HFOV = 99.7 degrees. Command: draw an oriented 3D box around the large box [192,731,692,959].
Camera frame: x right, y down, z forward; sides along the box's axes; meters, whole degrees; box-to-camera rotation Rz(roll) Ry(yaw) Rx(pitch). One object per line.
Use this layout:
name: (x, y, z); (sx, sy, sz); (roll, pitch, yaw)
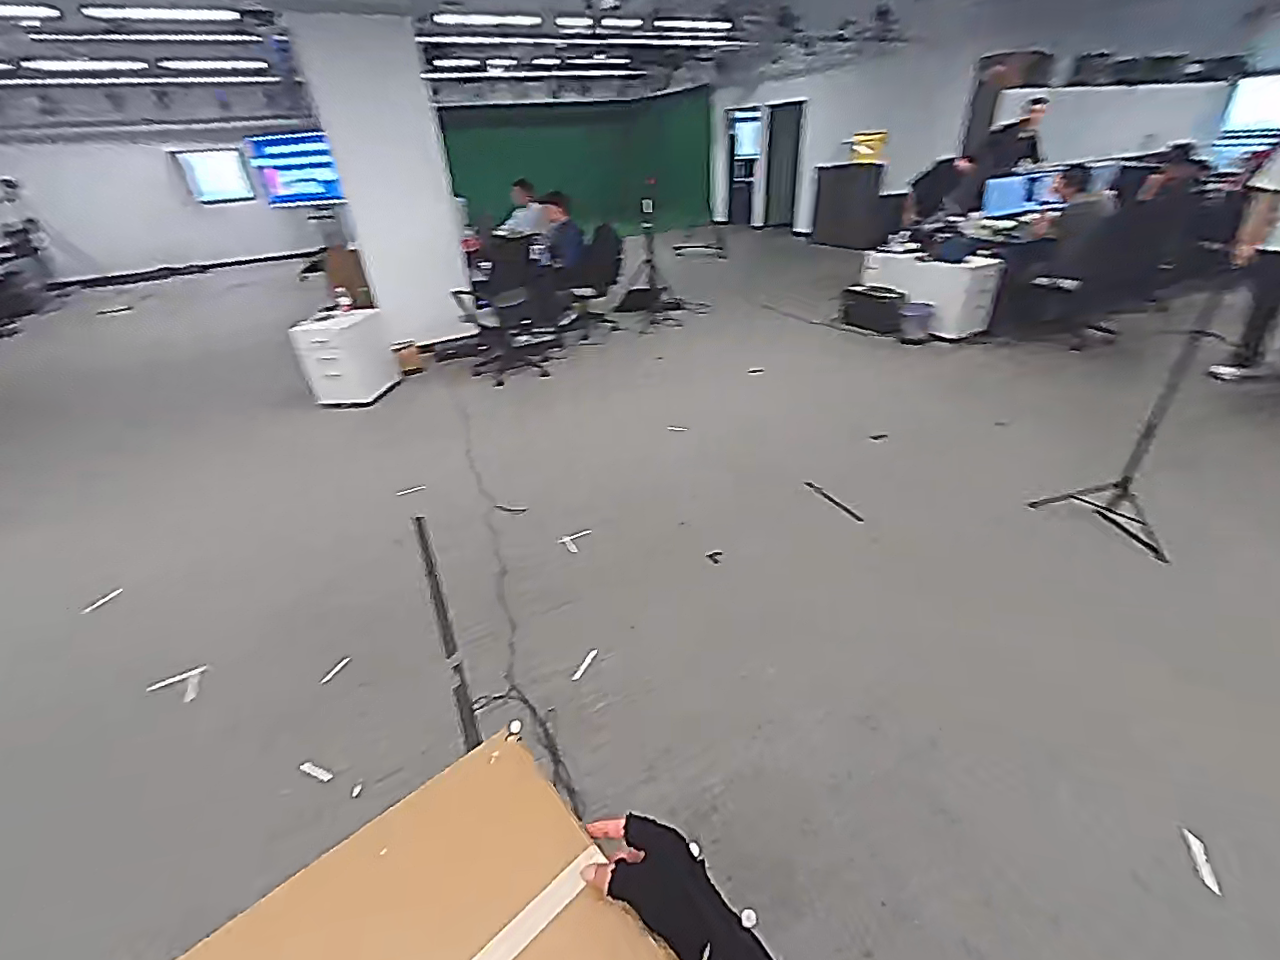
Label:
large box: (-0.183, 0.528, 0.462); (0.408, 0.320, 0.320); (-25, 46, -35)
